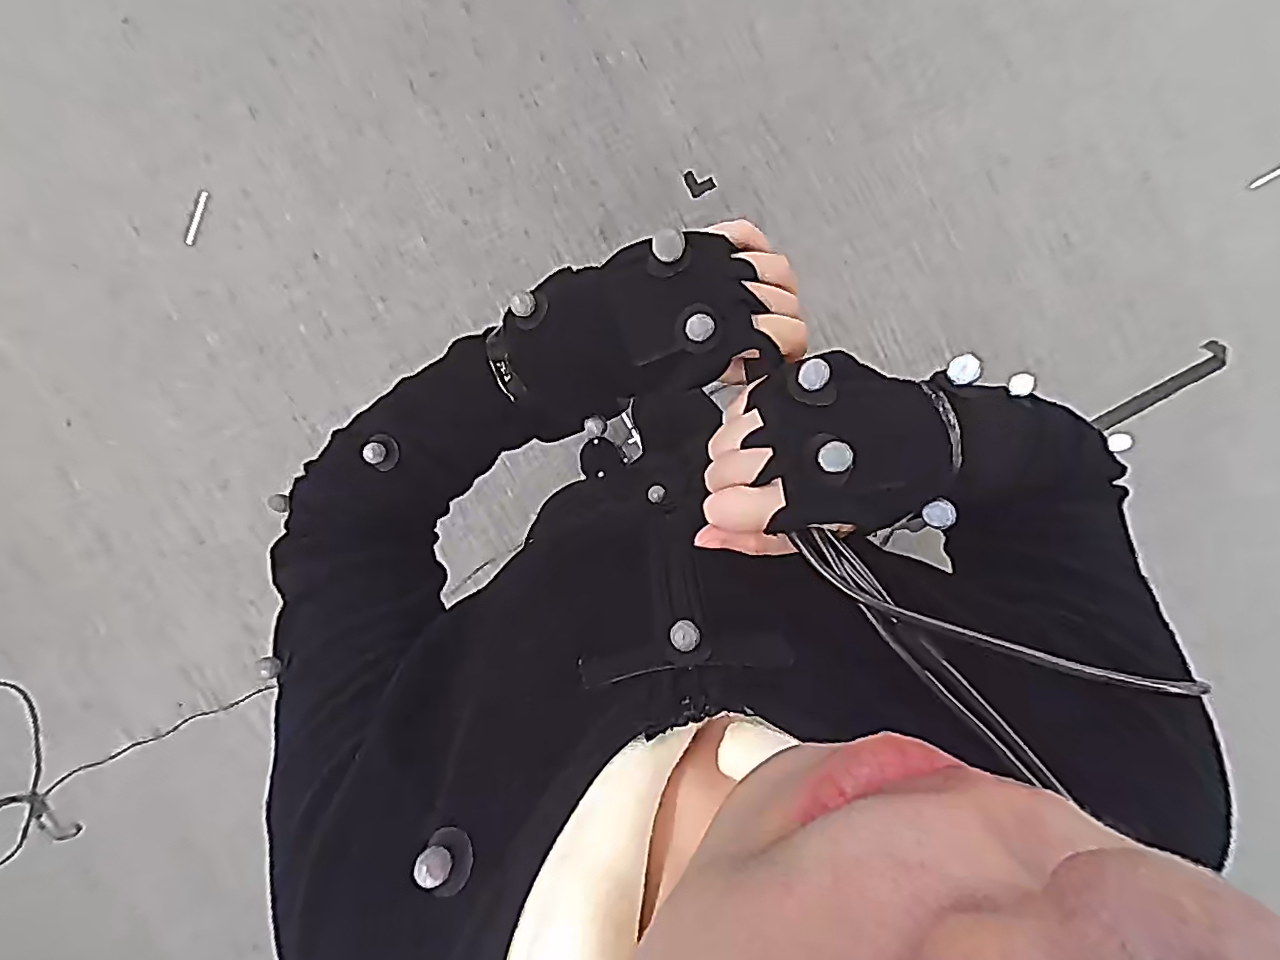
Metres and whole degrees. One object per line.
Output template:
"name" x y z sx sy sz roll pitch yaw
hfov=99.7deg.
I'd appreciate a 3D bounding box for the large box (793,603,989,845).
"large box" 0.567 0.542 1.268 0.320 0.320 0.408 -4 96 -4
